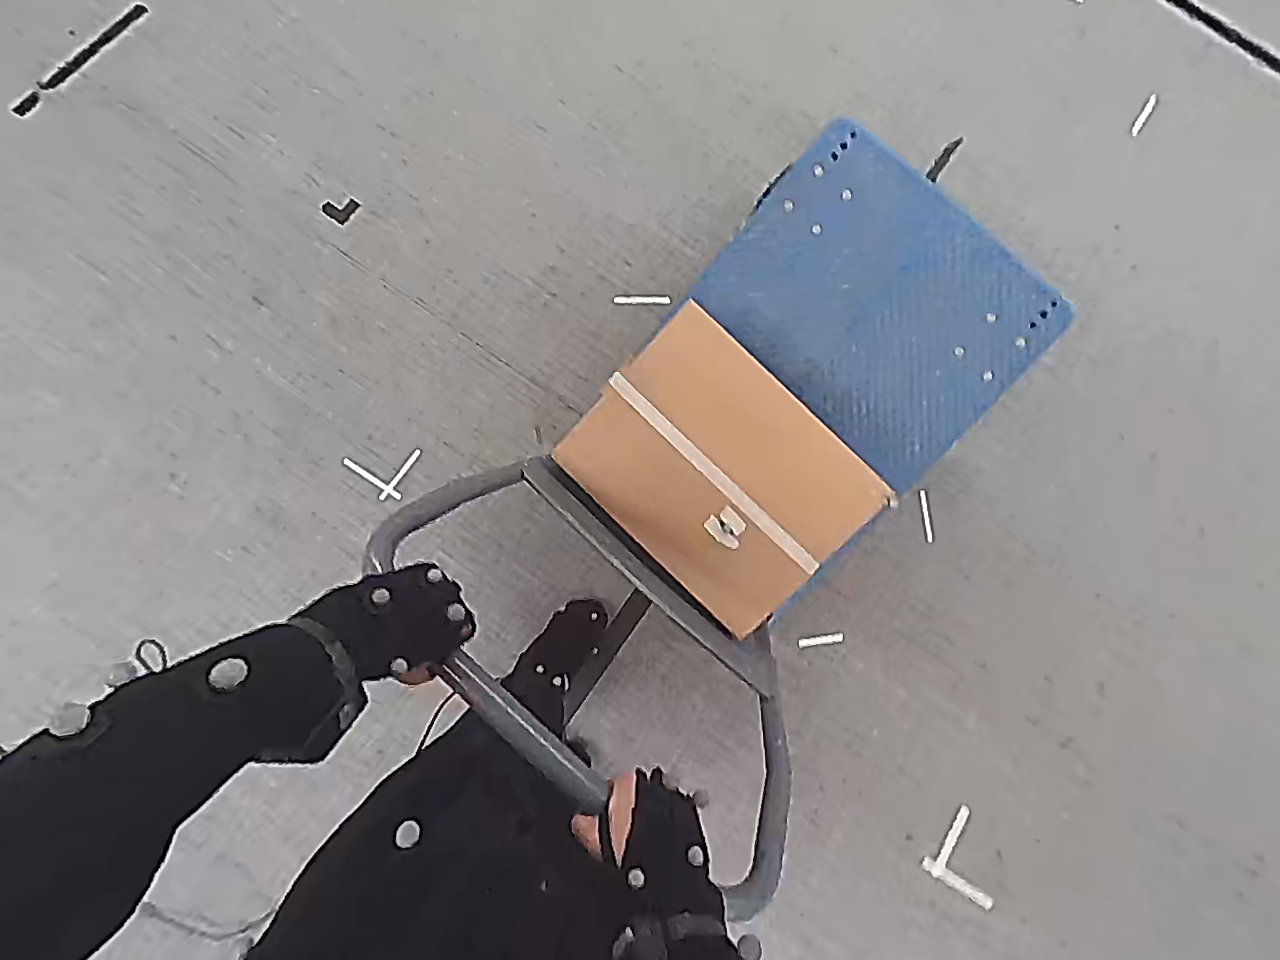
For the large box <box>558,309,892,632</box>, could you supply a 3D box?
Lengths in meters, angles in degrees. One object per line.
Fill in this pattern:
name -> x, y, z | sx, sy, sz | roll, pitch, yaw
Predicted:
large box -> 0.133, -0.024, 0.946 | 0.408, 0.320, 0.320 | 44, 100, 1
